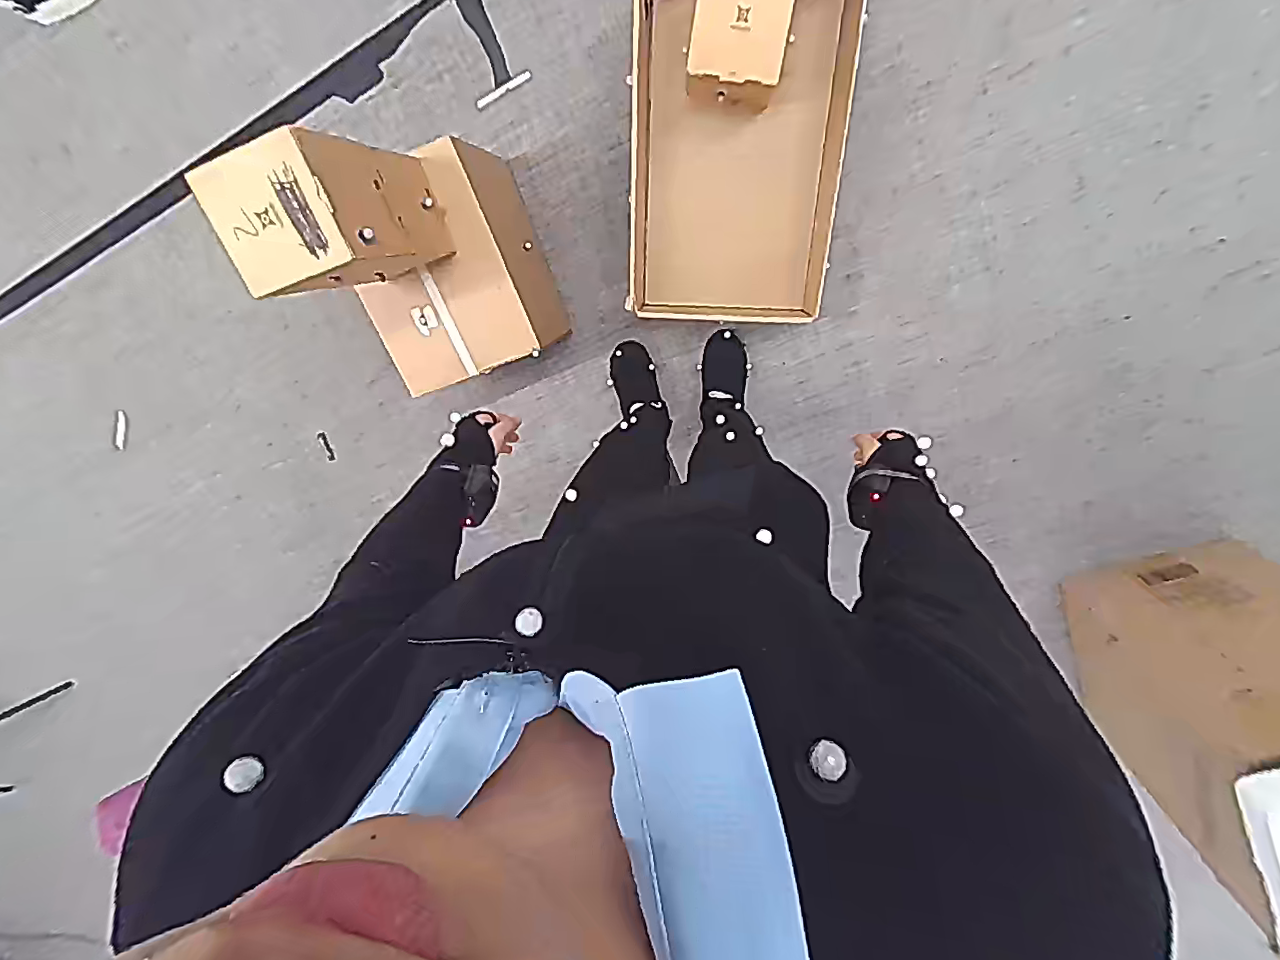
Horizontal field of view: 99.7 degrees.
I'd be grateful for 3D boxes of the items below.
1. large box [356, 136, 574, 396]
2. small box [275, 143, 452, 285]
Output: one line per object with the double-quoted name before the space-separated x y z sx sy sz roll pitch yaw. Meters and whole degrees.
"large box" -0.388 -0.453 1.188 0.320 0.320 0.408 -17 111 15
"small box" -0.459 -0.447 0.929 0.179 0.176 0.168 -15 112 13
